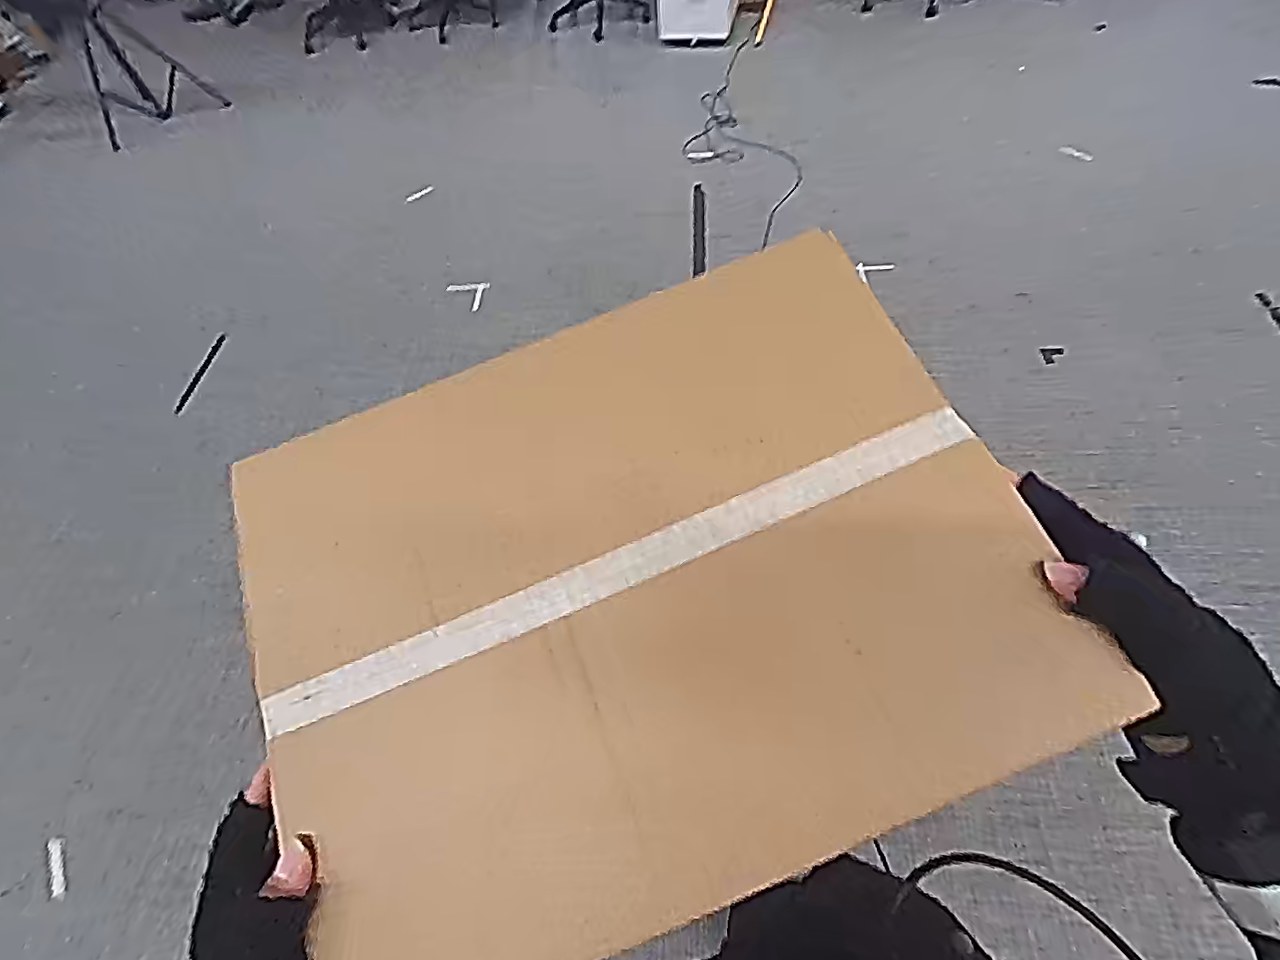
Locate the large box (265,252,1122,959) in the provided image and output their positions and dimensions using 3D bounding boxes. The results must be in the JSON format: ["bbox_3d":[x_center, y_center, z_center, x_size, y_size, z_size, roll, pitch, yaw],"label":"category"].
[{"bbox_3d":[0.014,0.103,0.441,0.408,0.320,0.320,-23,69,-1],"label":"large box"}]
